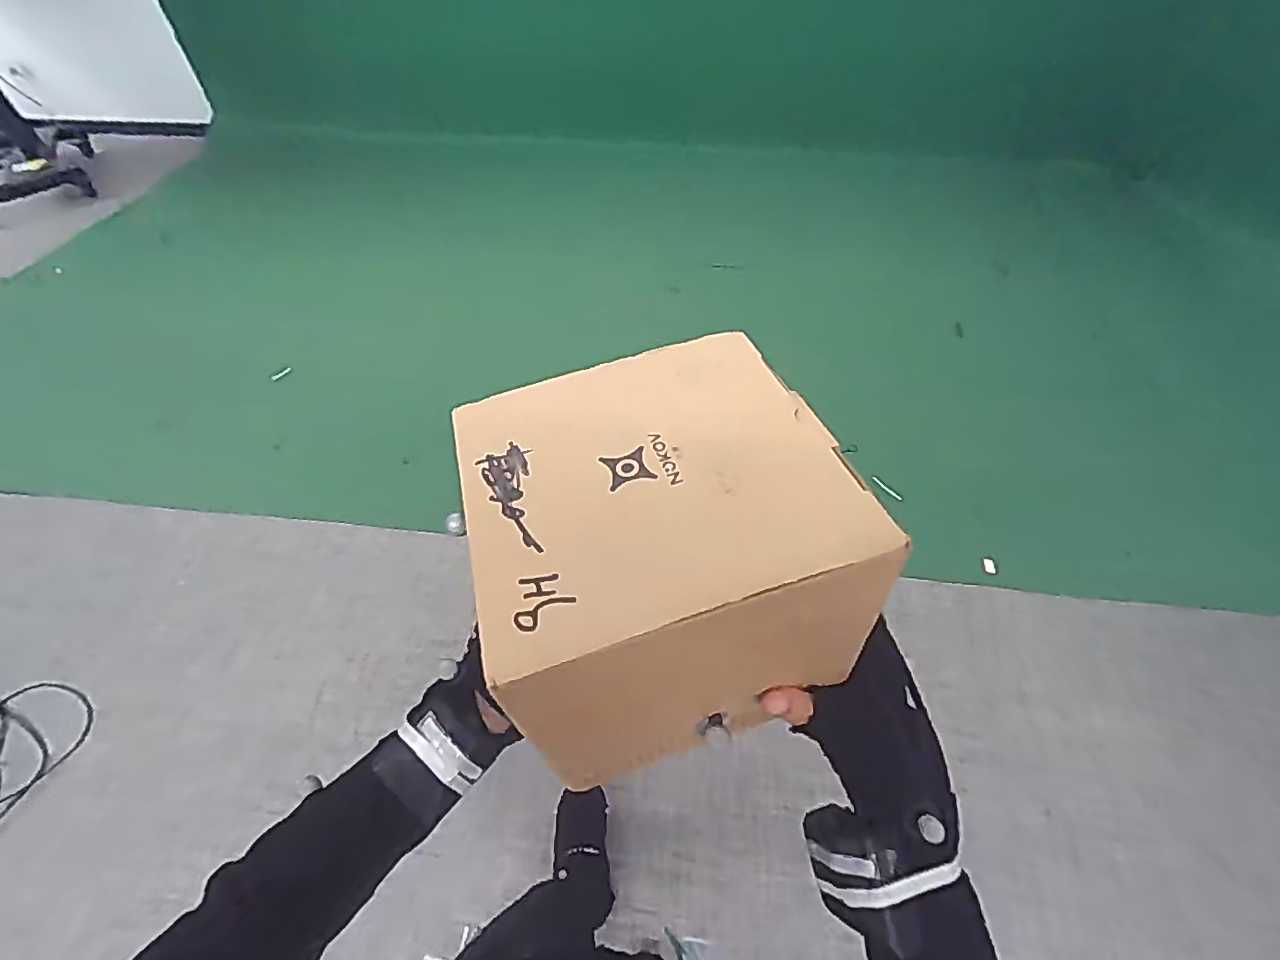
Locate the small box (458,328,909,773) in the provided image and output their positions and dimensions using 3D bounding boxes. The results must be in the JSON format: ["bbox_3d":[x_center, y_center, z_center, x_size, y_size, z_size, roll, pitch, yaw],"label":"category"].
[{"bbox_3d":[0.010,0.042,0.316,0.179,0.176,0.168,-16,49,-8],"label":"small box"}]
